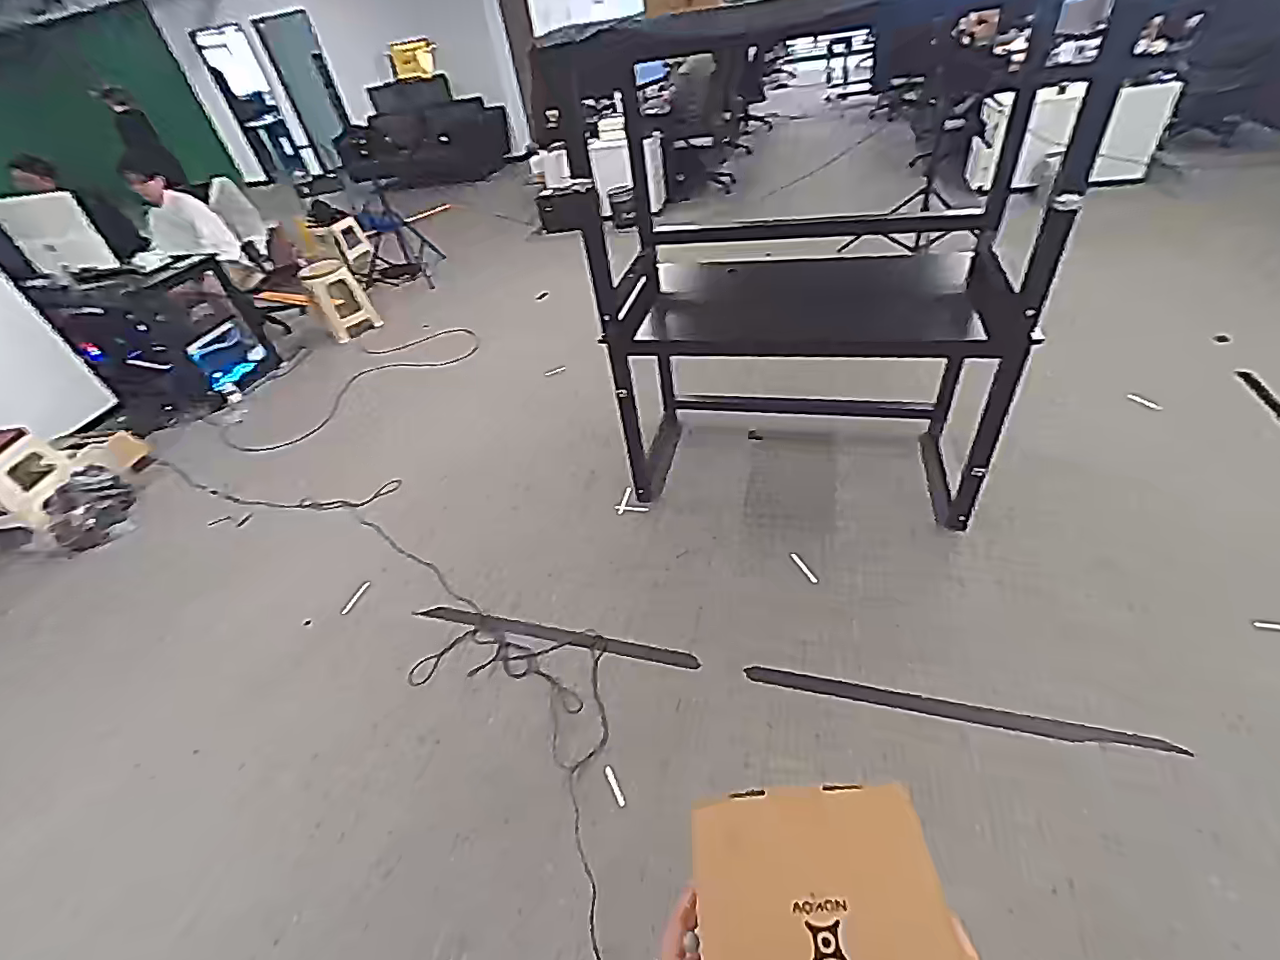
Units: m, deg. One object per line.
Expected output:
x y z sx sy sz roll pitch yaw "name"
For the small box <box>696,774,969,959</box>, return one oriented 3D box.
0.134 0.349 0.409 0.168 0.176 0.179 -7 43 6 "small box"
